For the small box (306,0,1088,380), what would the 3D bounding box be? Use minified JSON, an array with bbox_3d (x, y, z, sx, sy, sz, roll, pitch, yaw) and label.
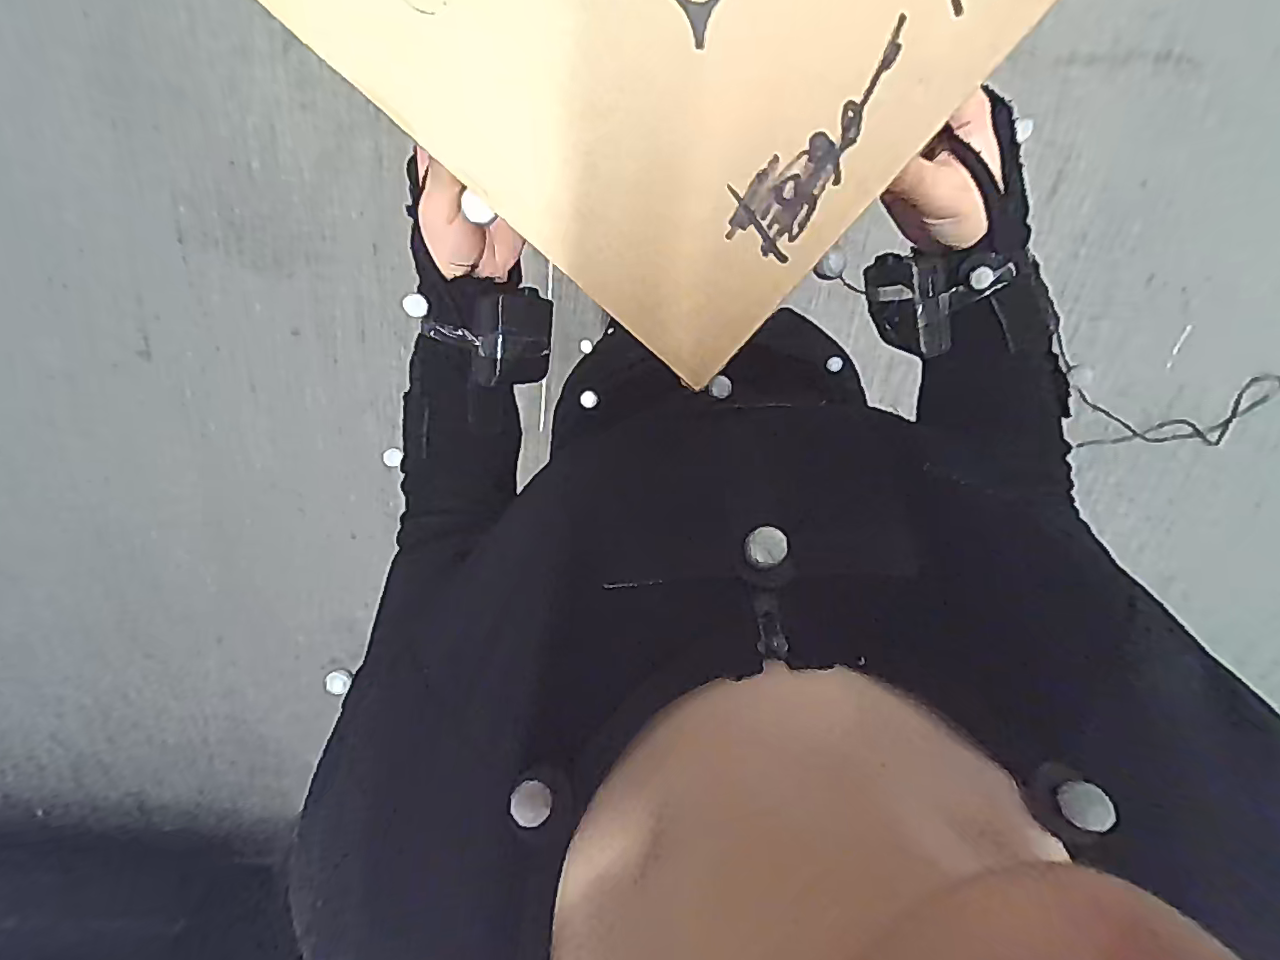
[{"bbox_3d":[0.012,-0.171,0.226,0.179,0.176,0.168,39,105,-17],"label":"small box"}]
